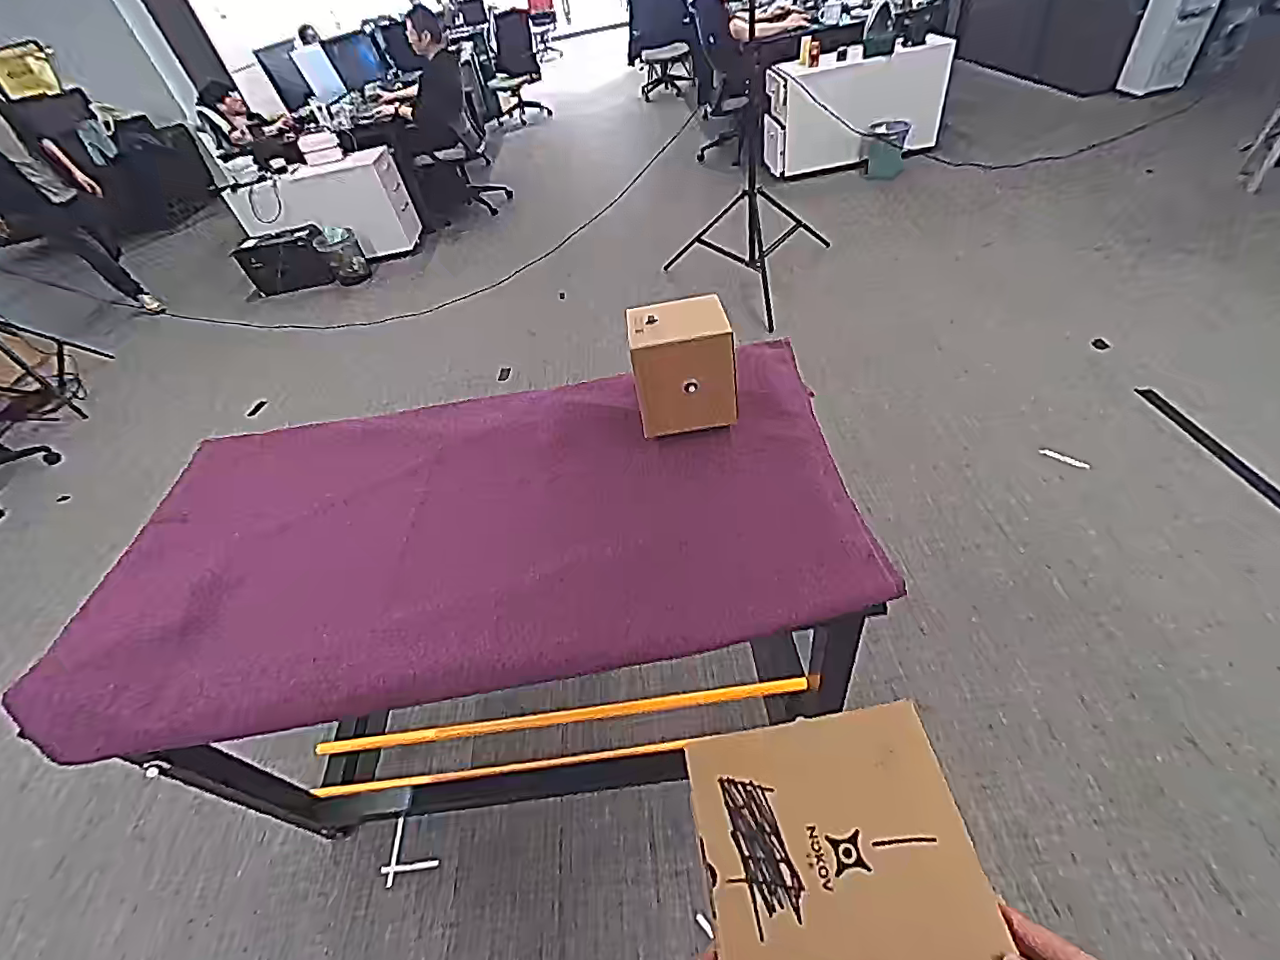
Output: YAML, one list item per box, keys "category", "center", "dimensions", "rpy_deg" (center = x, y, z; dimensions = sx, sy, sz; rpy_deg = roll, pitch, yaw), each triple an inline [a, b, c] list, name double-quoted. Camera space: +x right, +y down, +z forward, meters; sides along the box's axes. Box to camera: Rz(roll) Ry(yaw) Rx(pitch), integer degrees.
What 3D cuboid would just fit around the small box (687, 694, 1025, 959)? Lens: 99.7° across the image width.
- category: "small box"
  center: [0.148, 0.287, 0.424]
  dimensions: [0.179, 0.176, 0.168]
  rpy_deg: [-14, 54, 6]
